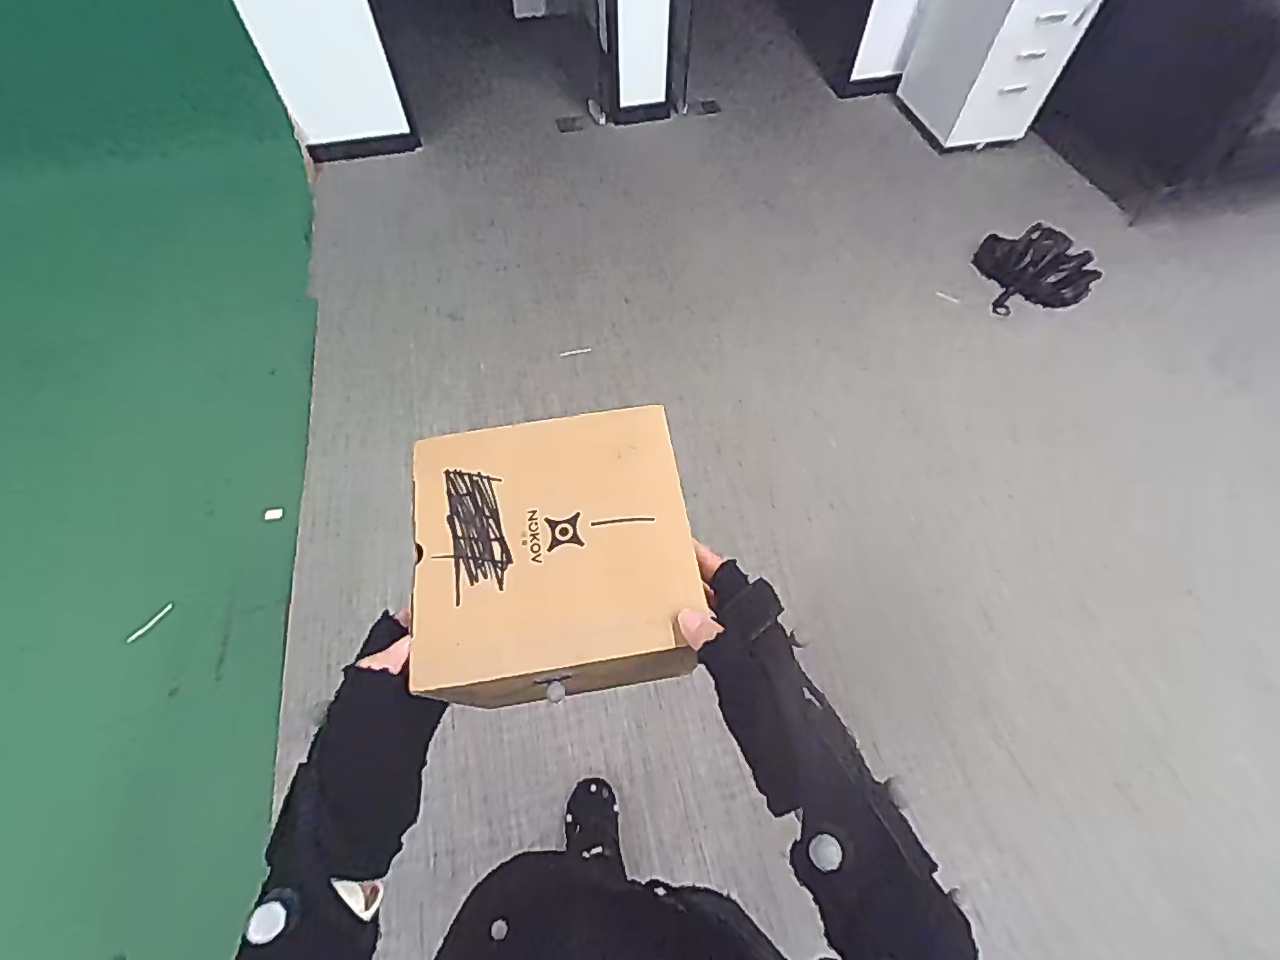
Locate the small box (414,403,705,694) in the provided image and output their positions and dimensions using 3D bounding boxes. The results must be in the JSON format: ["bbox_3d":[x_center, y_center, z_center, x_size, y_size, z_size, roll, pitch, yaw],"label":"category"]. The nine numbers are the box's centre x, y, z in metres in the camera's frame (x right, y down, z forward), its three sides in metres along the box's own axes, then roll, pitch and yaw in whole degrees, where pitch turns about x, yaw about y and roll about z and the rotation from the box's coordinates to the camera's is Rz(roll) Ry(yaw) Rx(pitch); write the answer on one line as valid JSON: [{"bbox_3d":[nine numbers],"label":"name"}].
[{"bbox_3d":[-0.056,0.064,0.423,0.179,0.176,0.168,-9,65,-4],"label":"small box"}]
